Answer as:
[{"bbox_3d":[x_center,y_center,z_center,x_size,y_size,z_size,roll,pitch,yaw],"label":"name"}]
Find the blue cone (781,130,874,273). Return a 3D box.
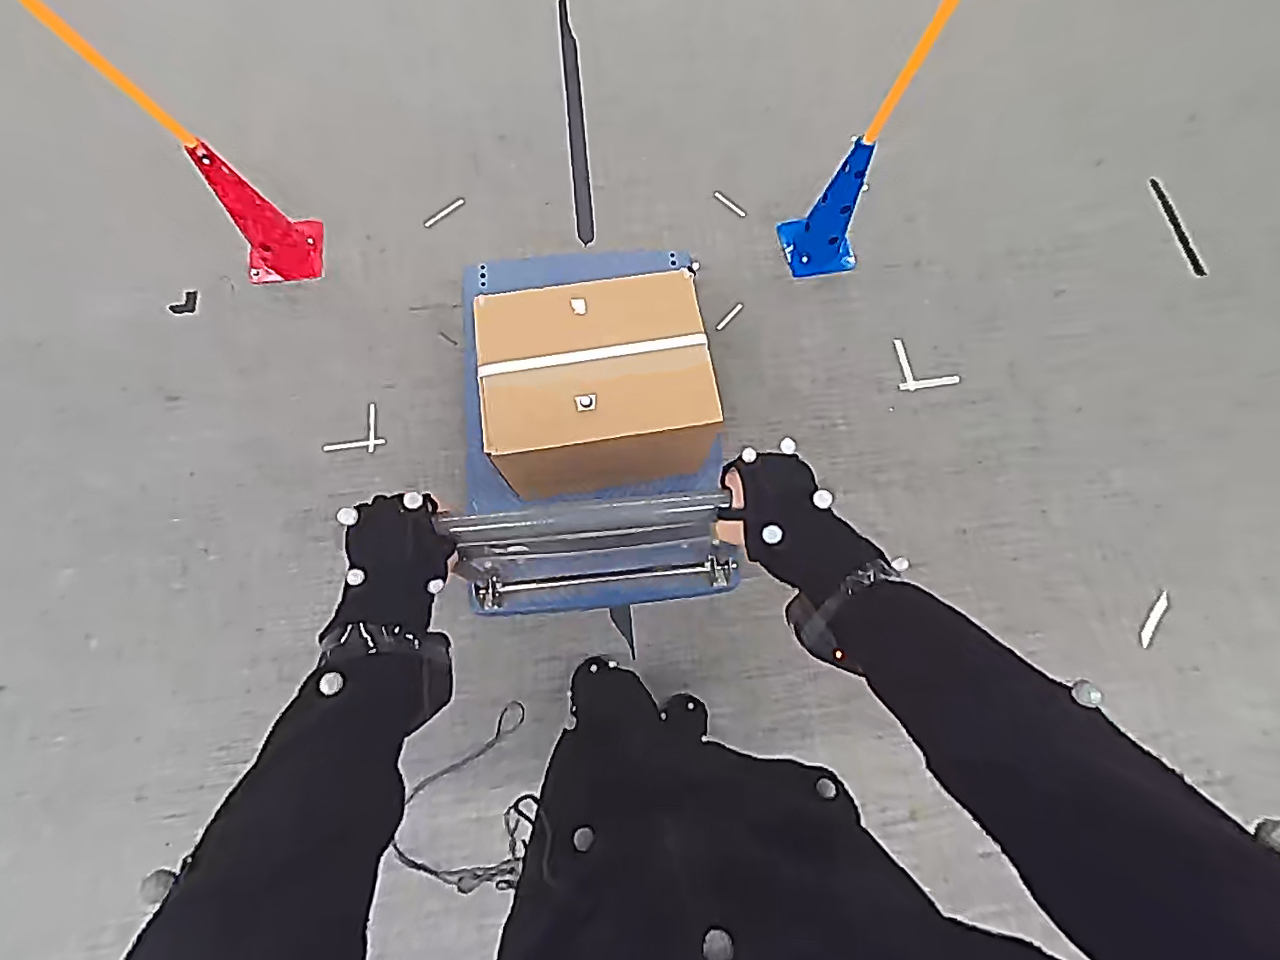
[{"bbox_3d":[0.536,-0.753,1.457,0.193,0.380,0.192,-9,73,-5],"label":"blue cone"}]
